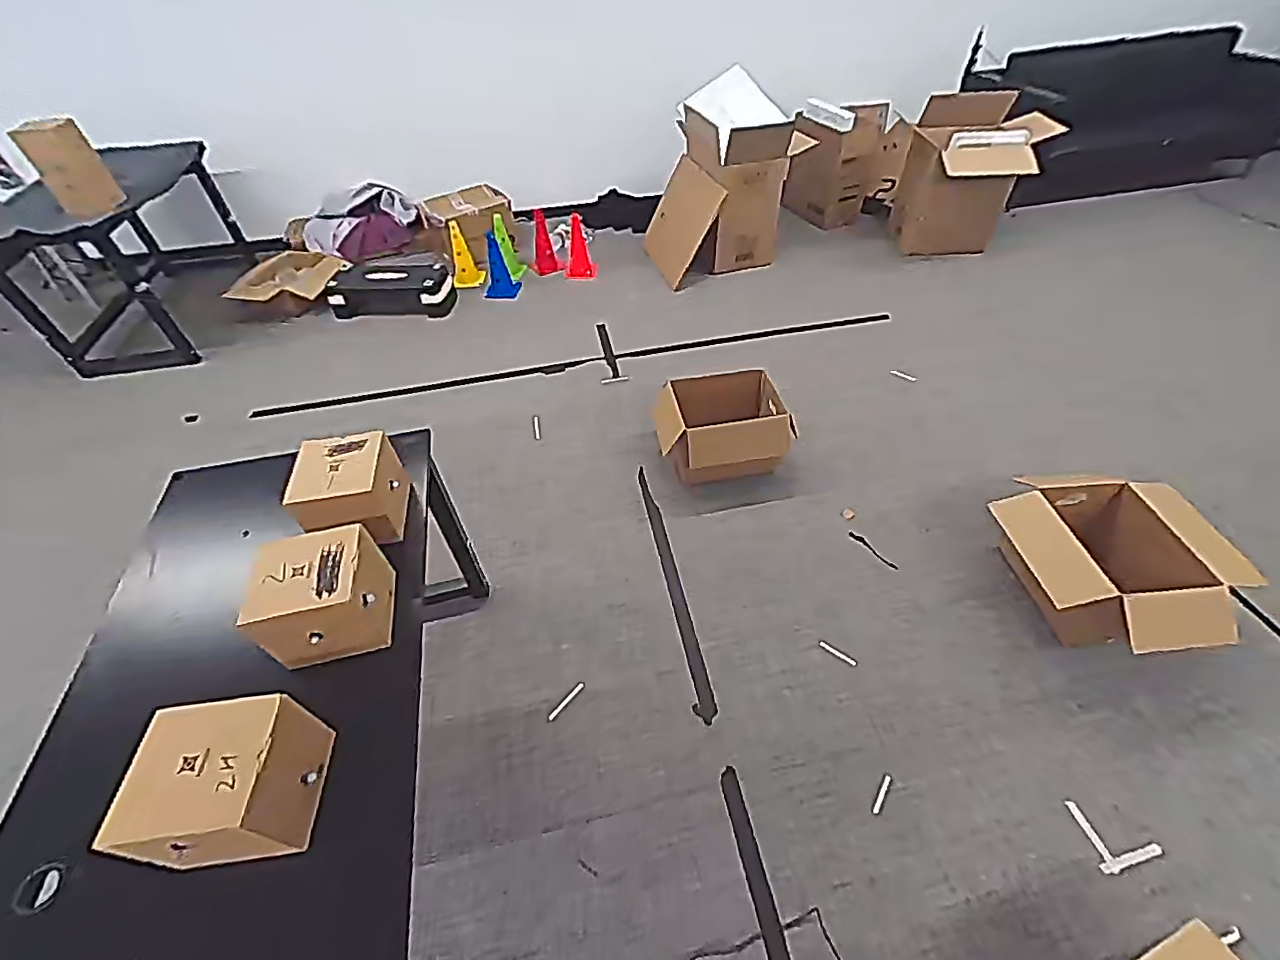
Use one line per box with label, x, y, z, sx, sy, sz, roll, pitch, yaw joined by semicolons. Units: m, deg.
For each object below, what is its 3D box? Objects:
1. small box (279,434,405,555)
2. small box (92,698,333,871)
small box;-0.605;0.031;1.127;0.168;0.176;0.179;-10;49;-5
small box;-0.573;0.429;0.758;0.179;0.176;0.168;-7;48;-4
